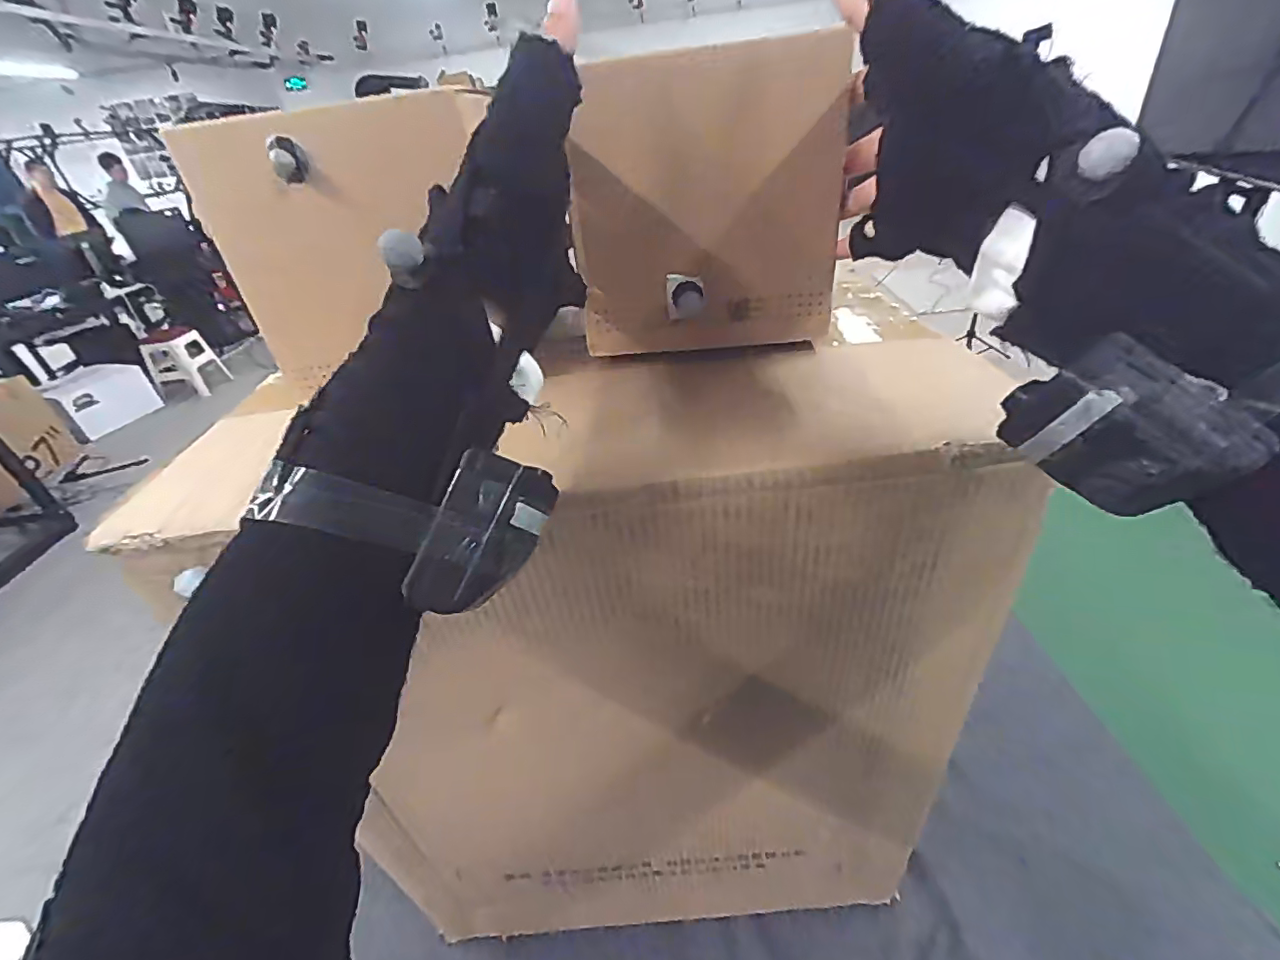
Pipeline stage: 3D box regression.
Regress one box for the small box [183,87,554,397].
[{"bbox_3d":[-0.168,-0.178,0.410,0.168,0.176,0.179,-7,32,3],"label":"small box"}]
